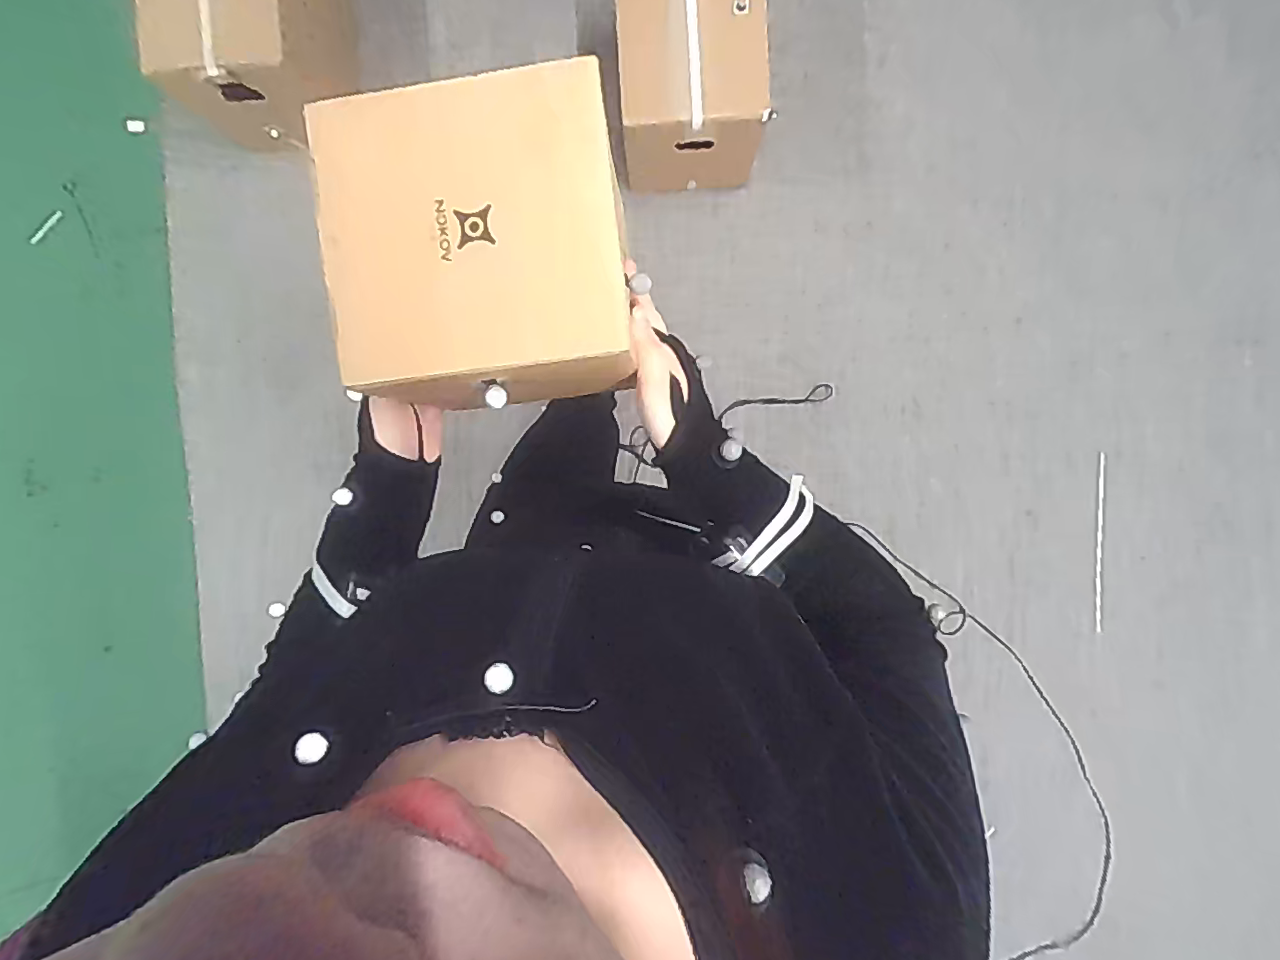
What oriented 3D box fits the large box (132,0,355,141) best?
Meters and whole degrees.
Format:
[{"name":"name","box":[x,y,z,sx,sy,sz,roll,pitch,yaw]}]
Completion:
[{"name":"large box","box":[-0.907,-1.090,1.266,0.320,0.320,0.408,-2,94,2]}]

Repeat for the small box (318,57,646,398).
[{"name":"small box","box":[-0.089,-0.155,0.394,0.179,0.176,0.168,-6,94,4]}]
